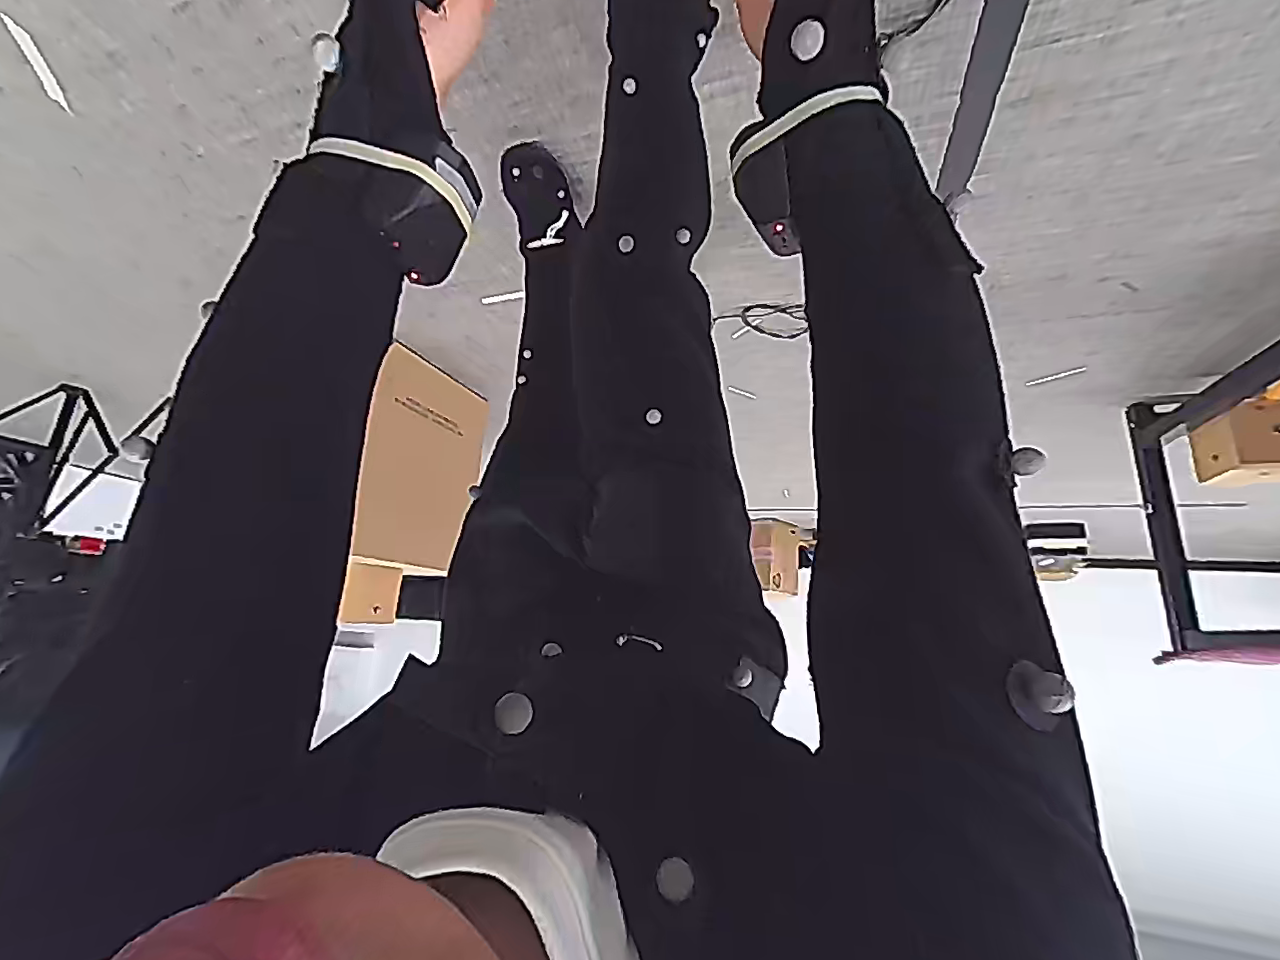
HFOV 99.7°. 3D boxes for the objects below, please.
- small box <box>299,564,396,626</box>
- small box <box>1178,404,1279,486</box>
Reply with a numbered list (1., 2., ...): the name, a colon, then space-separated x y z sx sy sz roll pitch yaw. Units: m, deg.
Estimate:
1. small box: -0.851 0.338 1.585 0.168 0.176 0.179 -3 164 20
2. small box: 1.542 -0.091 1.392 0.168 0.176 0.179 -1 163 20
